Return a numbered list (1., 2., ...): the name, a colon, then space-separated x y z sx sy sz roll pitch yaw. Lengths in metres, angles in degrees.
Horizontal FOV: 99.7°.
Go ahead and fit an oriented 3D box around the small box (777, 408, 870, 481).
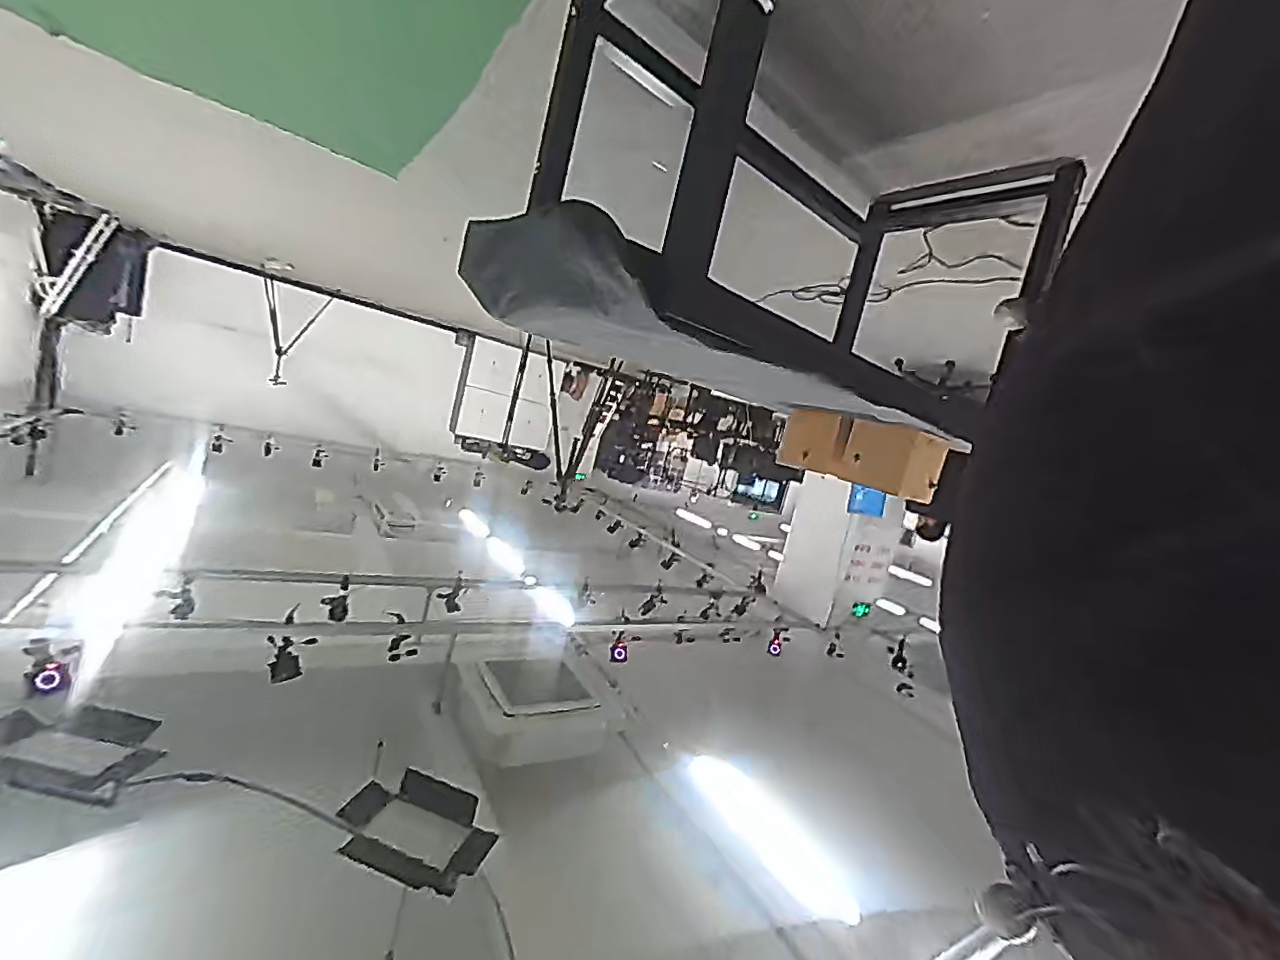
1. small box: 0.529 -0.106 1.556 0.168 0.176 0.179 9 -173 -38
